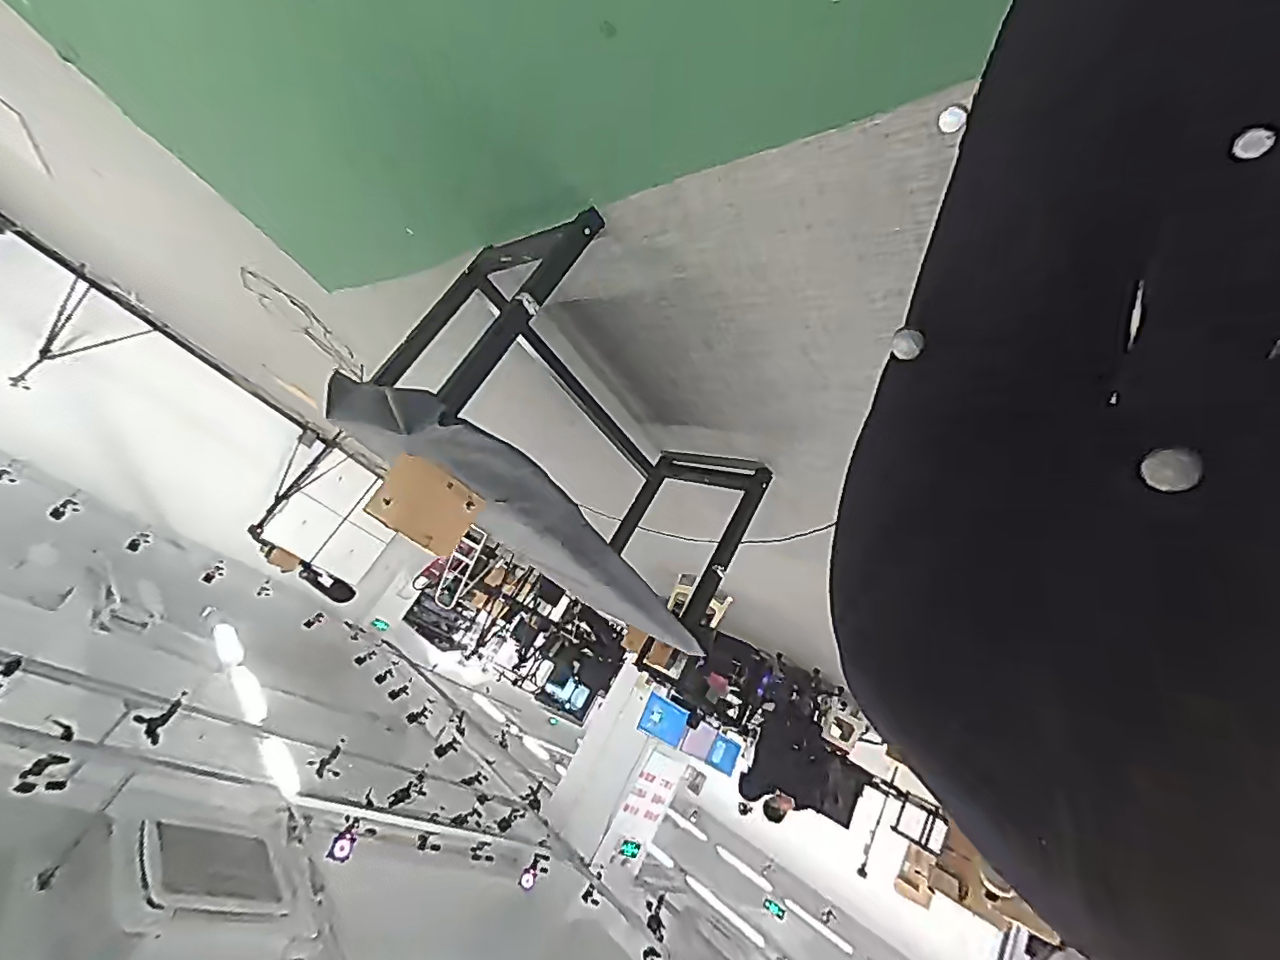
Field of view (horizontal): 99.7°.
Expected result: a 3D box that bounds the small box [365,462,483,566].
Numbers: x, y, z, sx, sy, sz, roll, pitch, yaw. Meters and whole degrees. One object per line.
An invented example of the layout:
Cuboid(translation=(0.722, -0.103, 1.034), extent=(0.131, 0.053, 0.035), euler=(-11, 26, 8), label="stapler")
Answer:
Cuboid(translation=(-0.500, 0.075, 1.272), extent=(0.179, 0.176, 0.168), euler=(13, 155, 46), label="small box")
